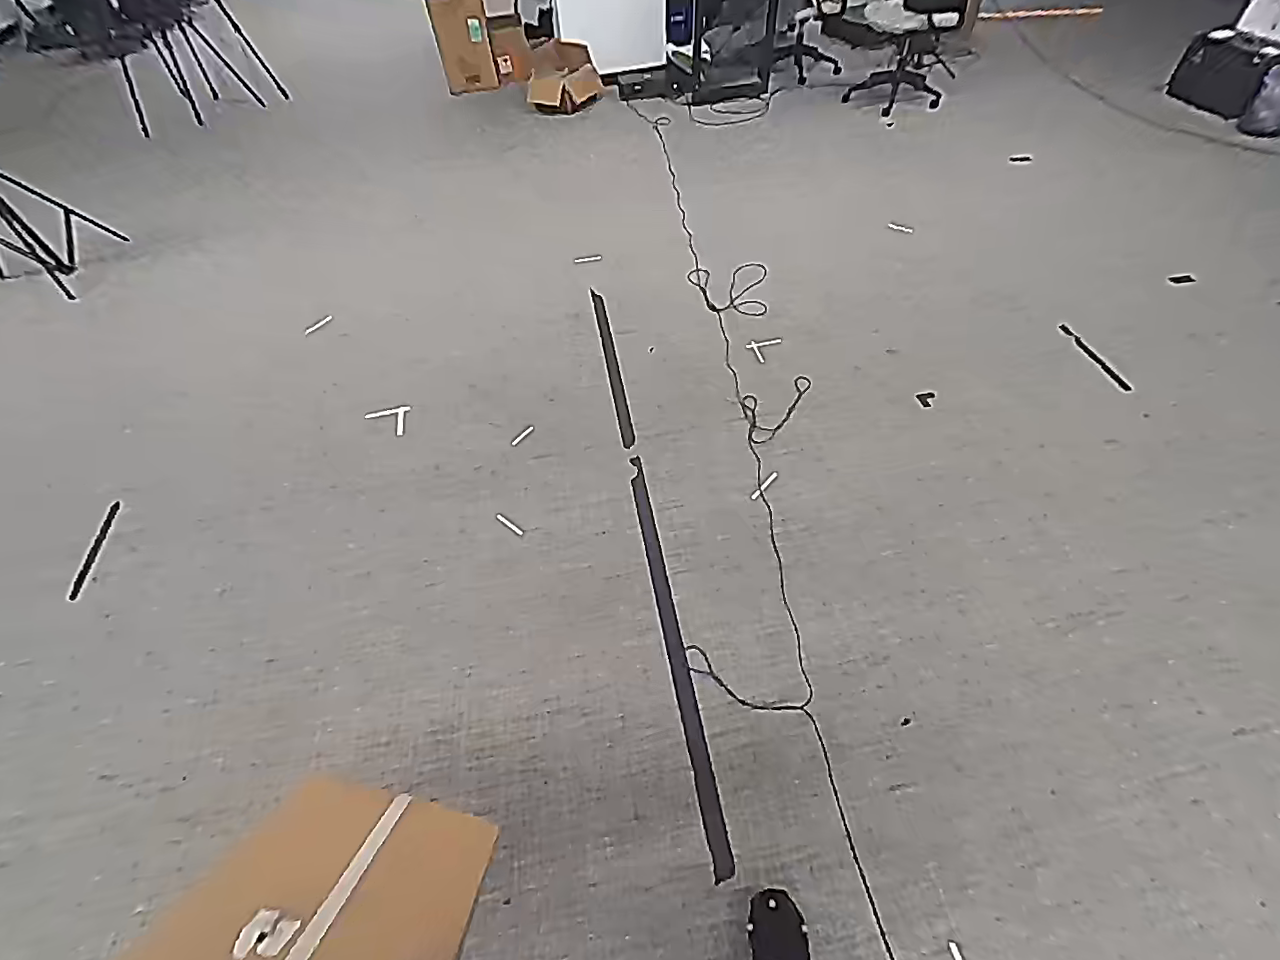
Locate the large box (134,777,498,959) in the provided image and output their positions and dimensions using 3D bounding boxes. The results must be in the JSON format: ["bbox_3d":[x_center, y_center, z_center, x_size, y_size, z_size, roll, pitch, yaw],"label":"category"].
[{"bbox_3d":[-0.409,0.662,0.663,0.320,0.408,0.320,17,92,-1],"label":"large box"}]
